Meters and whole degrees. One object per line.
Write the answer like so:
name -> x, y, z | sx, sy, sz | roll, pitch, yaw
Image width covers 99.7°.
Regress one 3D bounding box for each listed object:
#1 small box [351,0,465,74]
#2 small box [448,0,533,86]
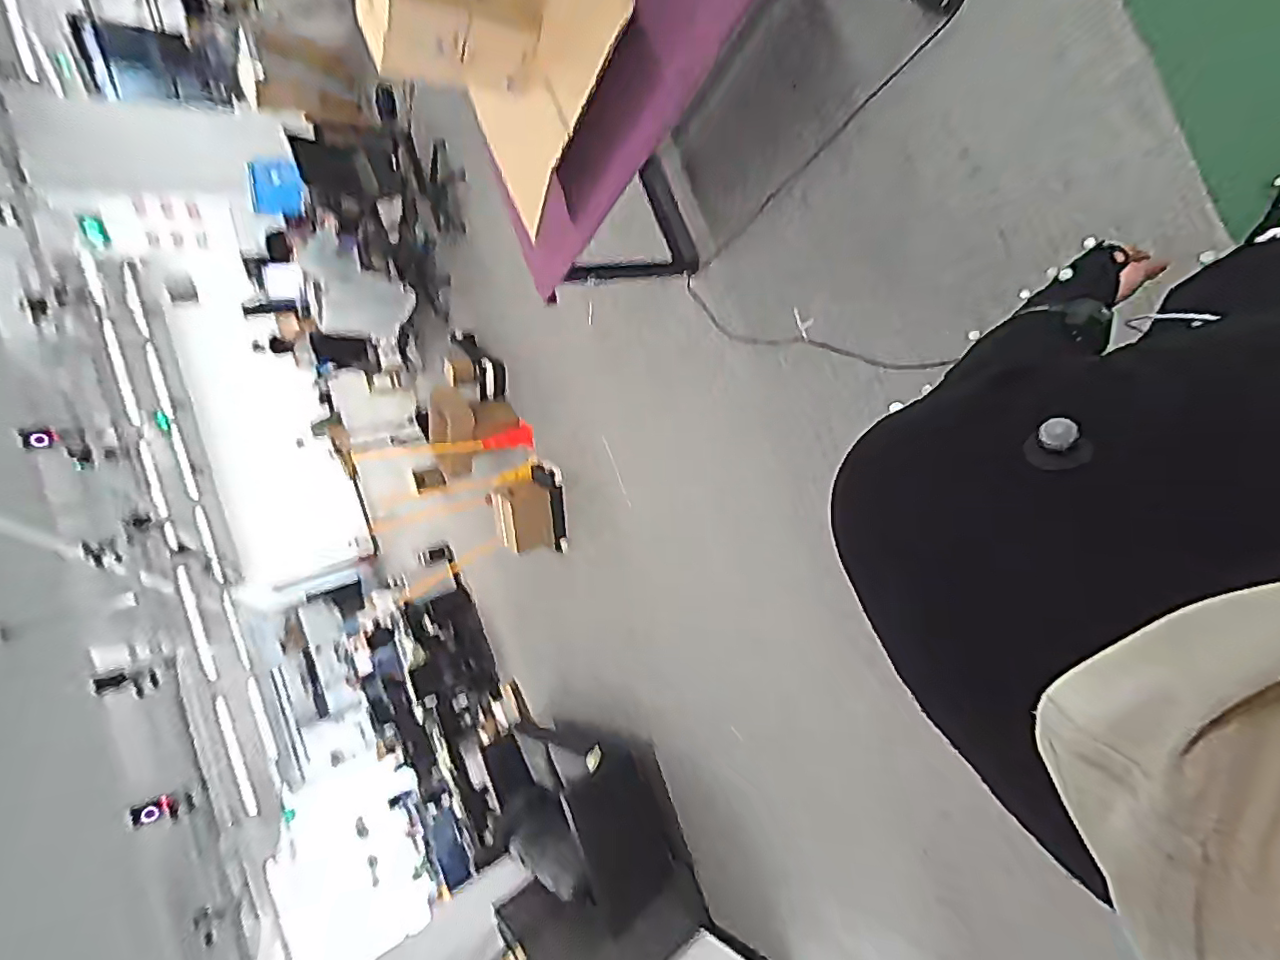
small box -> -0.500, -1.025, 1.164 | 0.168, 0.176, 0.179 | -31, 80, 53
small box -> -0.372, -1.062, 1.260 | 0.168, 0.176, 0.179 | -30, 79, 53
